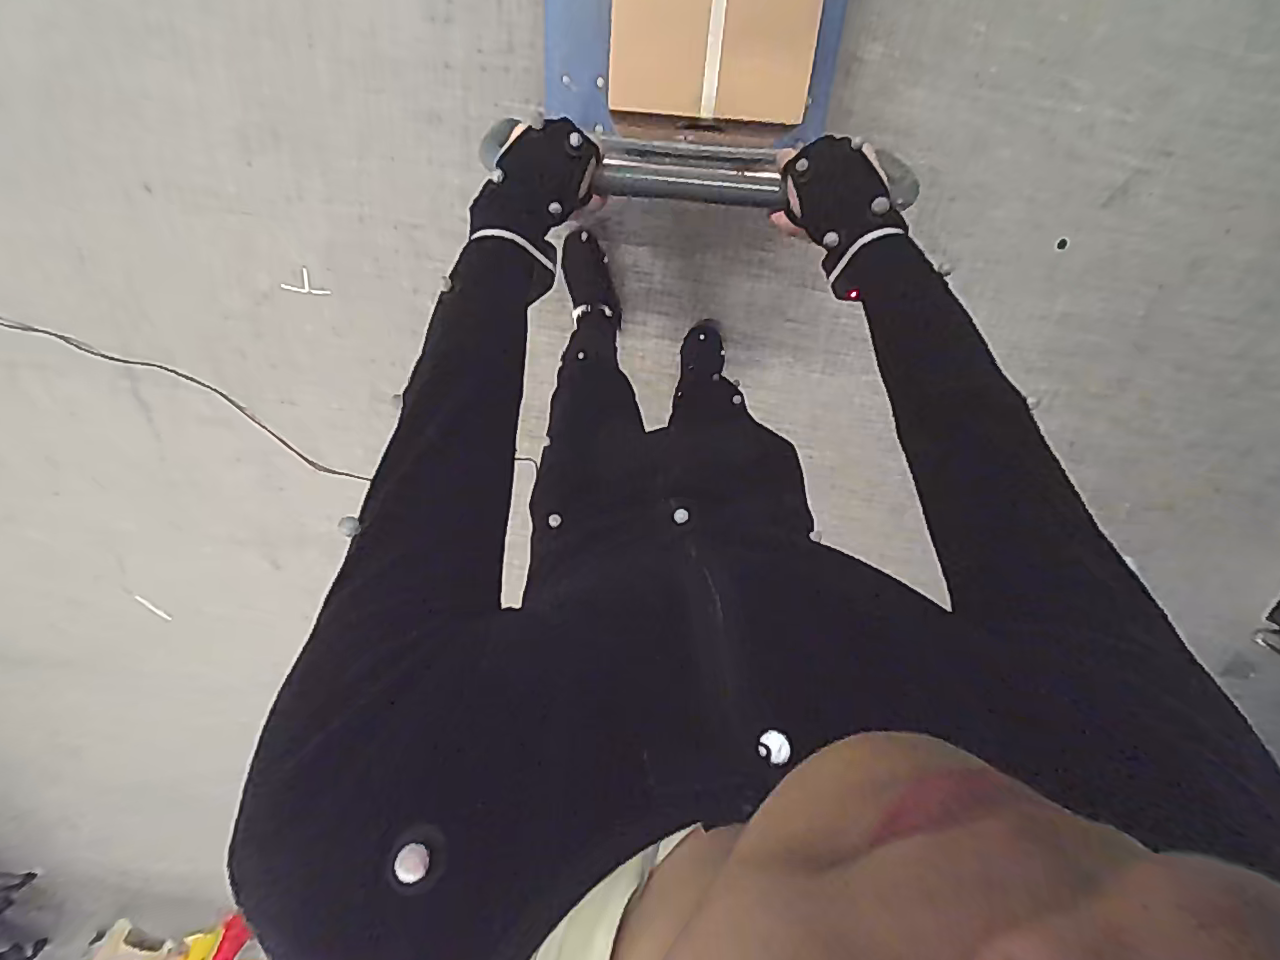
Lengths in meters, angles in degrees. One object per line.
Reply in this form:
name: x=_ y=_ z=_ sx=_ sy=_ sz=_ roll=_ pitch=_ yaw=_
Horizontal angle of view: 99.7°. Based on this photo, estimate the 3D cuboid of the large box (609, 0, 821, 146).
large box: x=0.121 y=-0.822 z=0.914 sx=0.320 sy=0.320 sz=0.408 roll=4 pitch=115 yaw=-1
